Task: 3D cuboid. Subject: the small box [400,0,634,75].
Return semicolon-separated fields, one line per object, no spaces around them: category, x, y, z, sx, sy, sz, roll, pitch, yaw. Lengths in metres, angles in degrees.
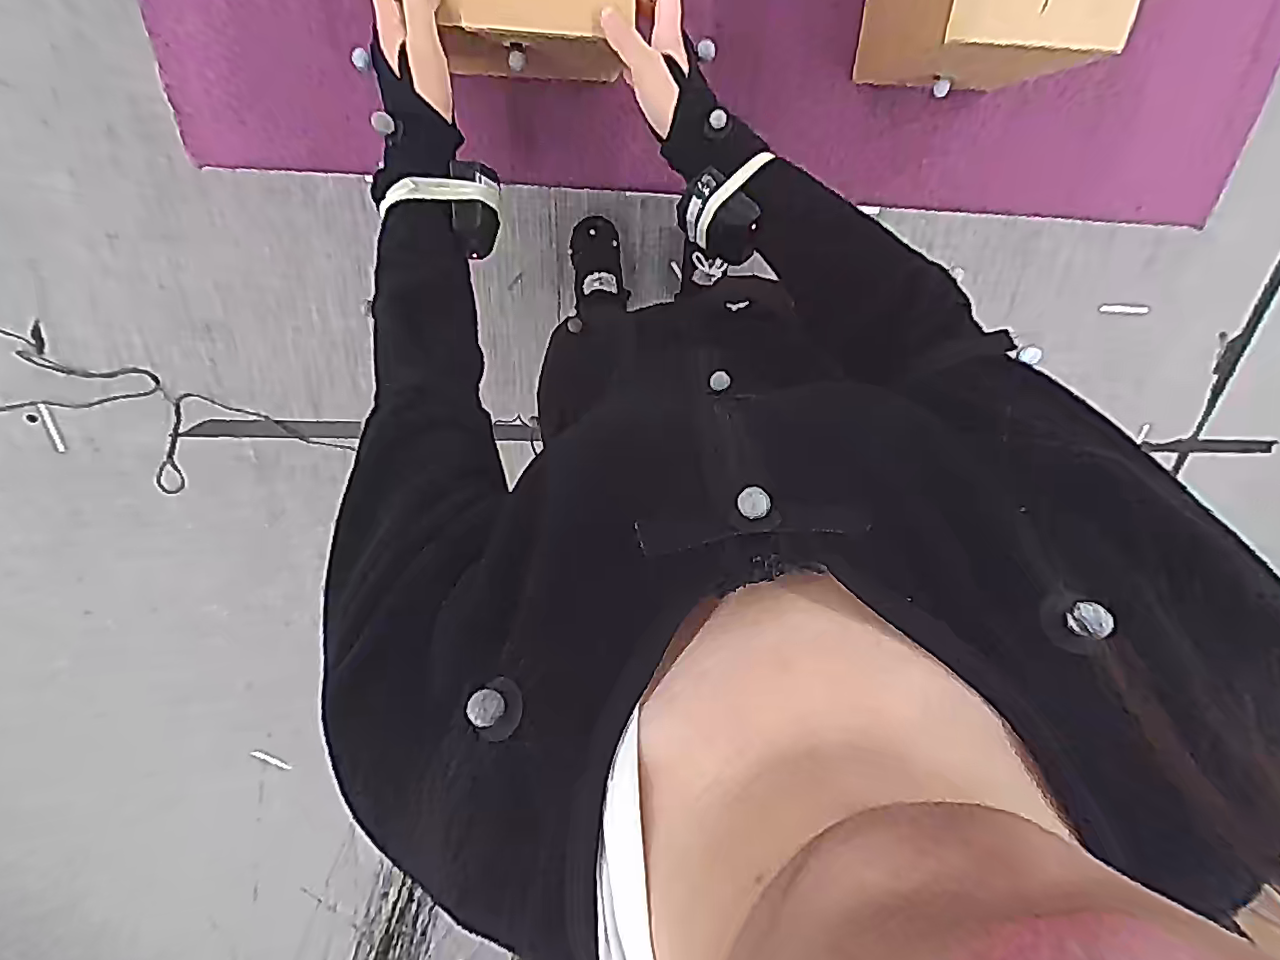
small box;-0.099;-0.454;0.448;0.179;0.176;0.168;-1;118;-6

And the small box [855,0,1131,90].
small box;0.319;-0.479;0.488;0.168;0.176;0.179;-1;117;-6
